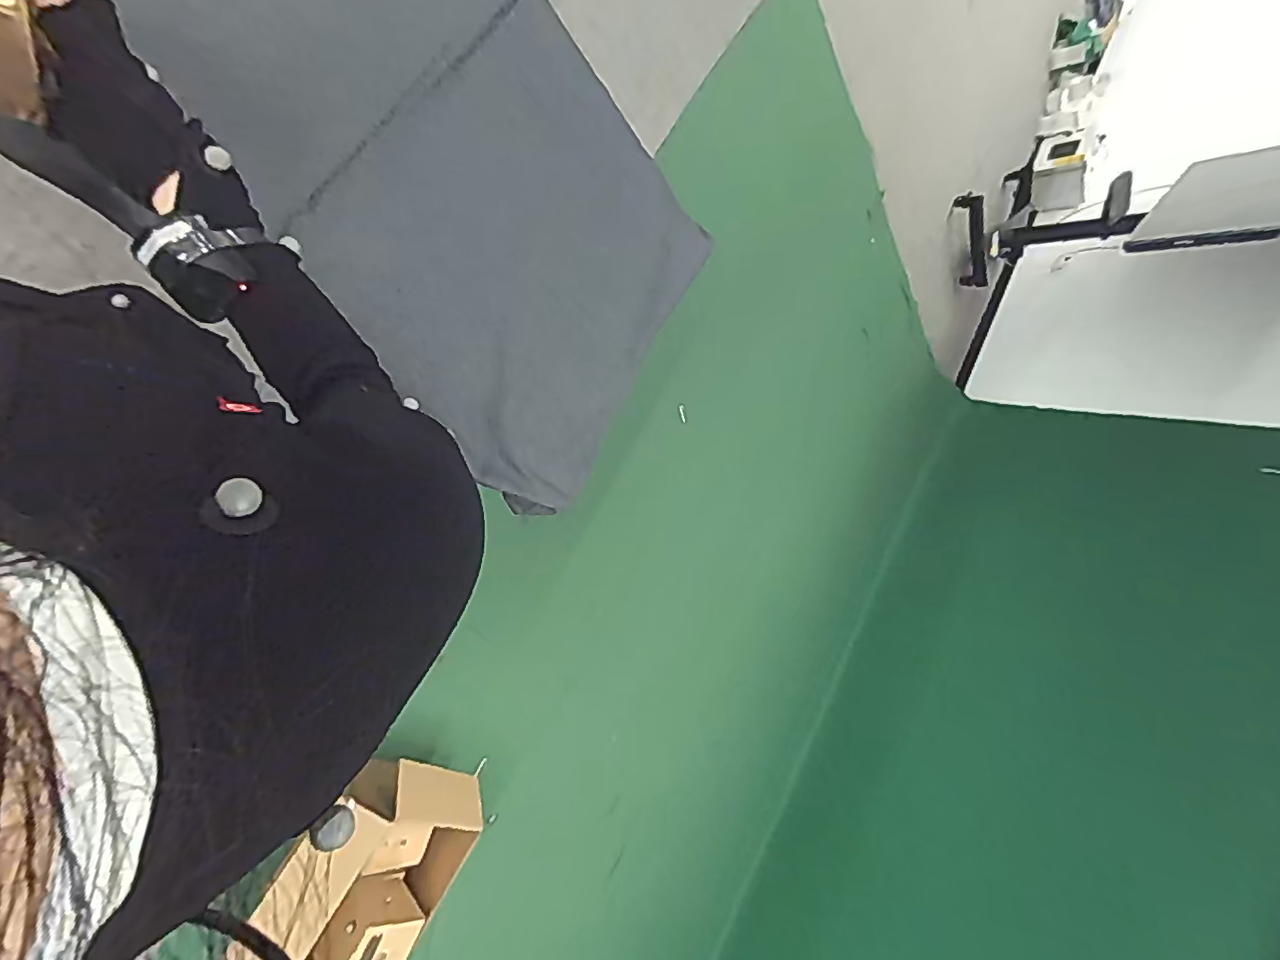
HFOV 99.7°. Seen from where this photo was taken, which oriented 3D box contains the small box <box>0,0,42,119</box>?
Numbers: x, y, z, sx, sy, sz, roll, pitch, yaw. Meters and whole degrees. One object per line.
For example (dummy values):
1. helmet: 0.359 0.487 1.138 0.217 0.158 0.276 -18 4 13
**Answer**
1. small box: -0.457 -0.346 0.295 0.168 0.176 0.179 -3 100 -44
